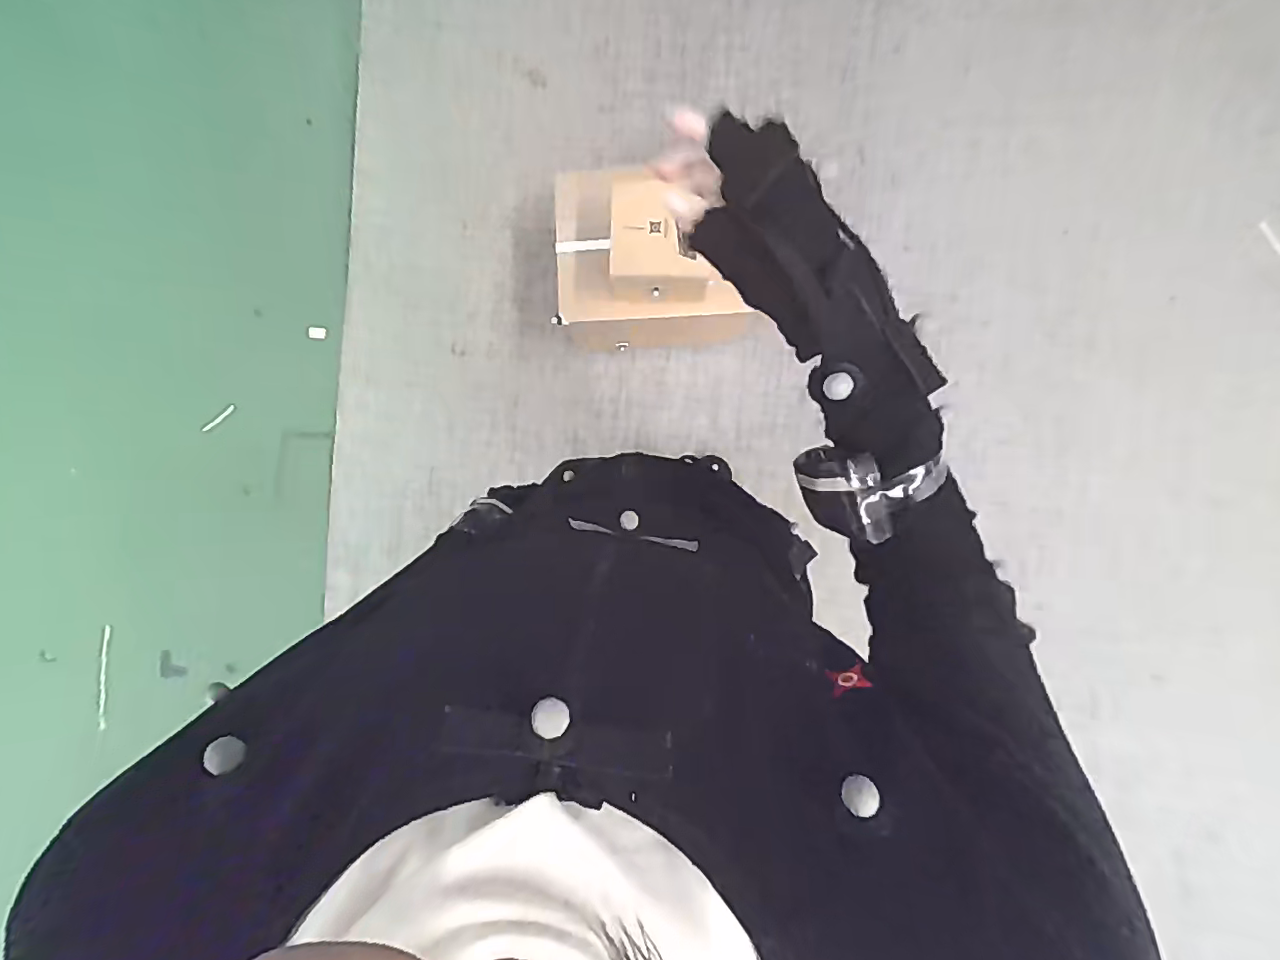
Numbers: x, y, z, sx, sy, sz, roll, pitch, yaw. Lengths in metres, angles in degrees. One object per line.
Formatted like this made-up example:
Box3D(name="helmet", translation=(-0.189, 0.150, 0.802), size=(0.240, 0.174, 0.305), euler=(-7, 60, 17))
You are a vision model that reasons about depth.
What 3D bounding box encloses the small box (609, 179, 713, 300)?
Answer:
Box3D(name="small box", translation=(0.042, -0.447, 1.025), size=(0.179, 0.176, 0.168), euler=(3, 93, 5))
